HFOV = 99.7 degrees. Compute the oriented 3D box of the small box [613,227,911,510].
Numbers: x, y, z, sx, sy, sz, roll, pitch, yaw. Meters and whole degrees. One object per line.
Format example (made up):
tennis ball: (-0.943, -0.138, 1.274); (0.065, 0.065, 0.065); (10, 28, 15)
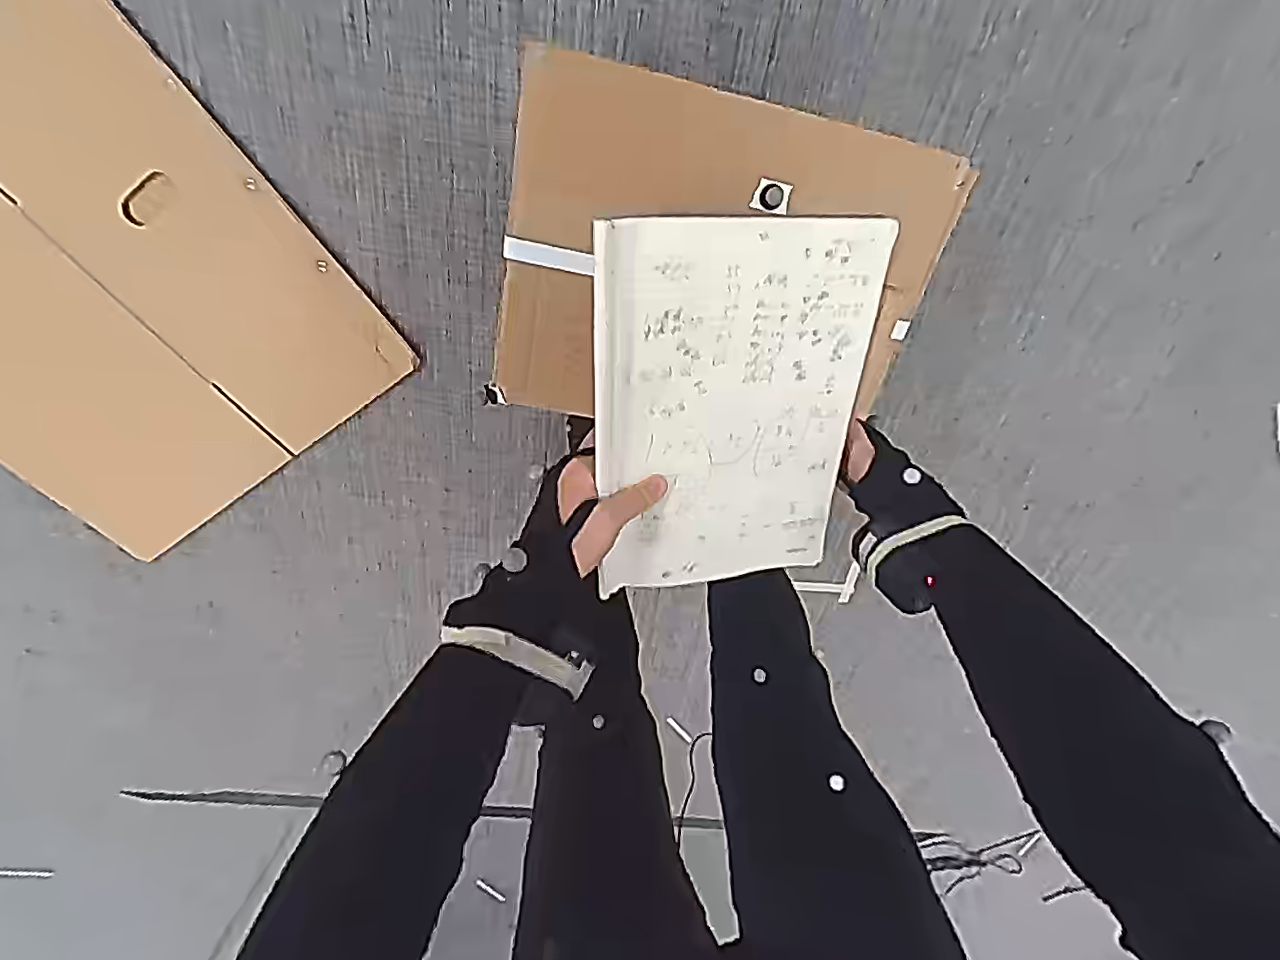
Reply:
small box: (0.077, -0.098, 0.453); (0.168, 0.176, 0.179); (6, 117, -14)
